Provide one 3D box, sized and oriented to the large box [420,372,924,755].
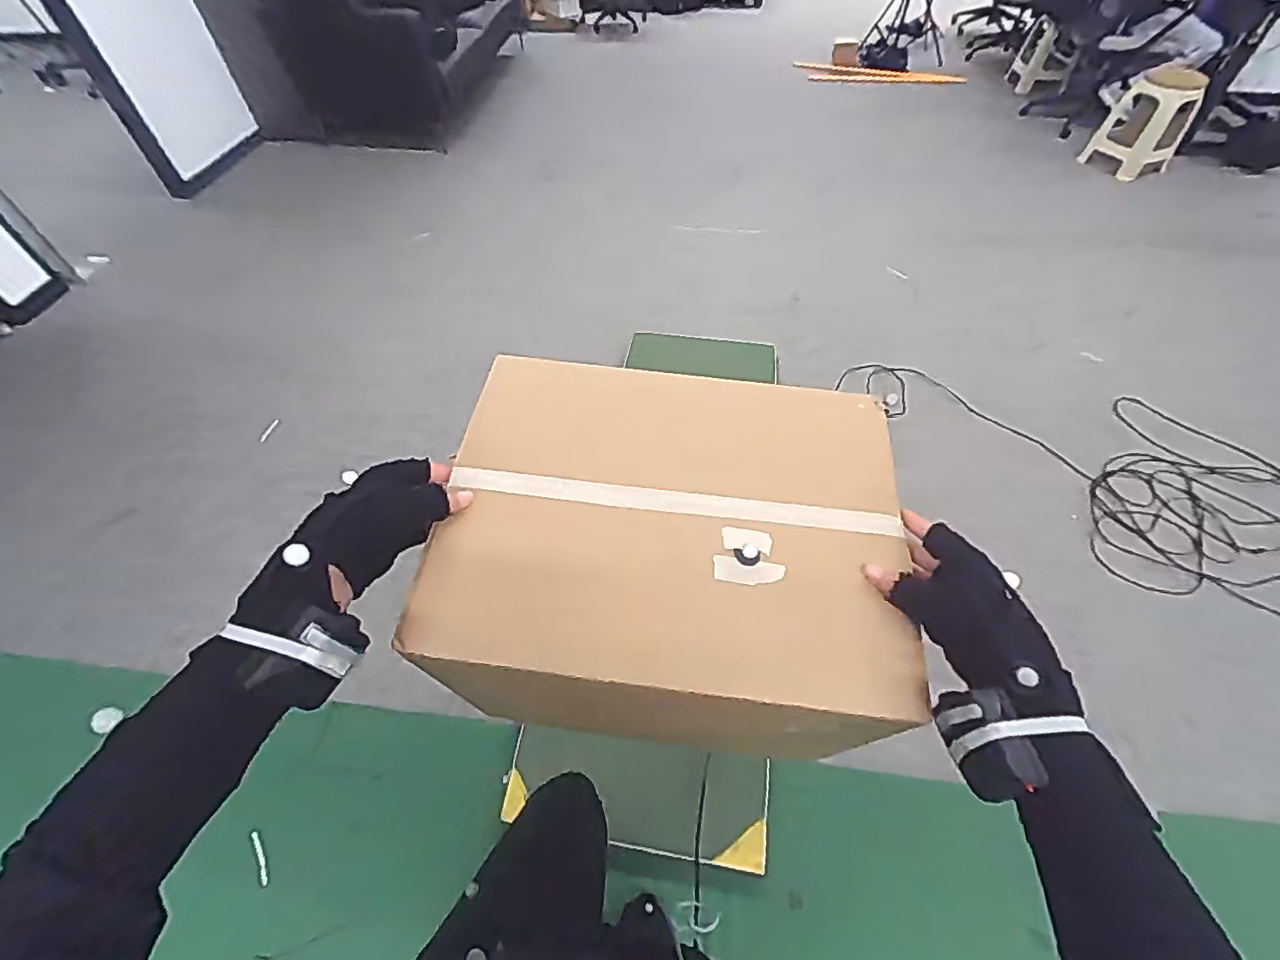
[{"bbox_3d":[0.031,0.110,0.622,0.408,0.320,0.320,7,58,2],"label":"large box"}]
